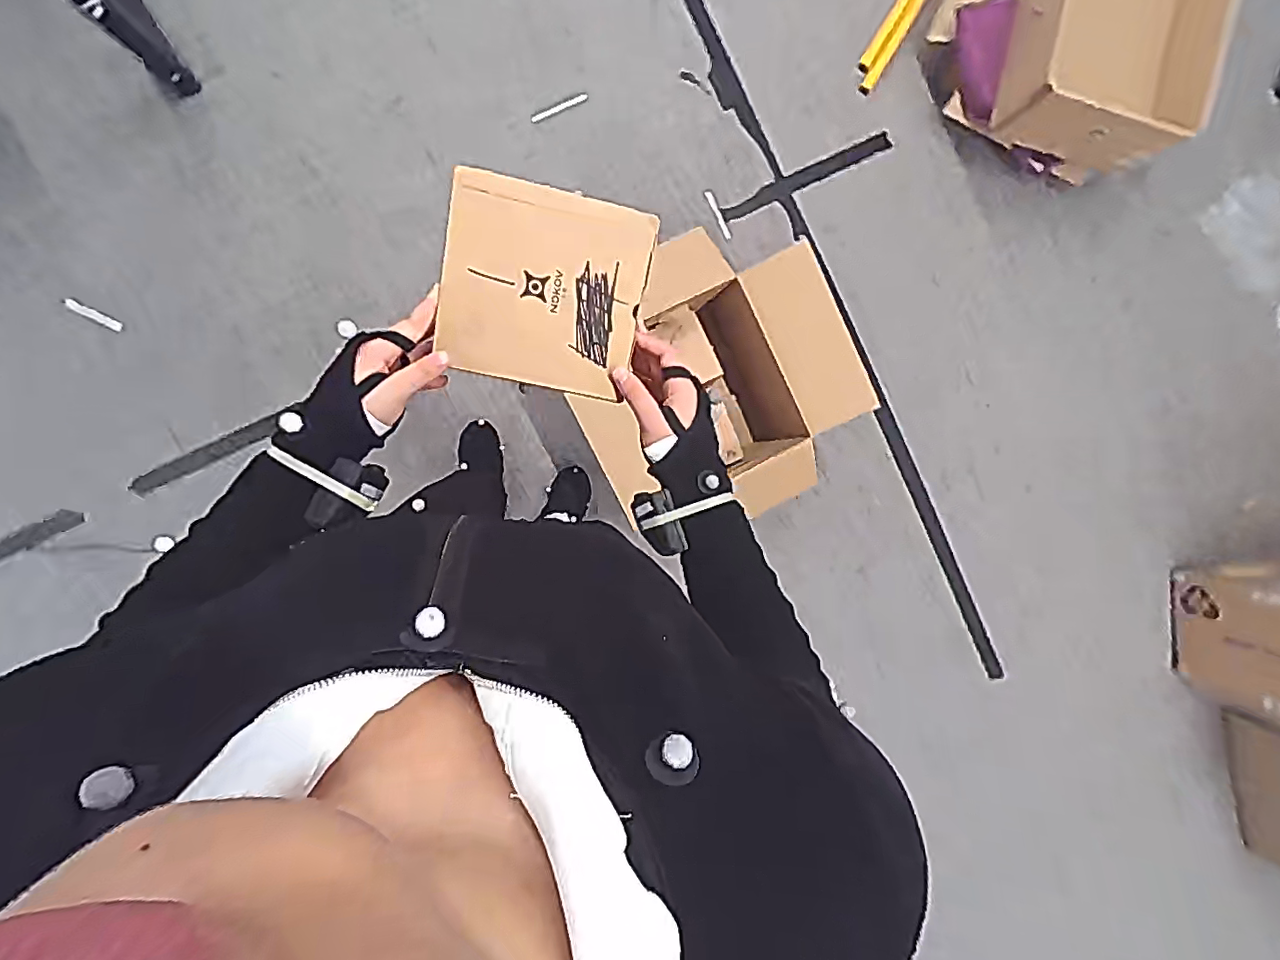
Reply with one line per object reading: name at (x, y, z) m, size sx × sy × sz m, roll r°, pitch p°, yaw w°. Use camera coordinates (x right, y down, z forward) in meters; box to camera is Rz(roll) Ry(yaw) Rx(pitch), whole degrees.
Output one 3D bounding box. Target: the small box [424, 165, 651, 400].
small box at (-0.100, -0.186, 0.549) m, size 0.179 × 0.176 × 0.168 m, roll 10°, pitch 102°, yaw -9°
